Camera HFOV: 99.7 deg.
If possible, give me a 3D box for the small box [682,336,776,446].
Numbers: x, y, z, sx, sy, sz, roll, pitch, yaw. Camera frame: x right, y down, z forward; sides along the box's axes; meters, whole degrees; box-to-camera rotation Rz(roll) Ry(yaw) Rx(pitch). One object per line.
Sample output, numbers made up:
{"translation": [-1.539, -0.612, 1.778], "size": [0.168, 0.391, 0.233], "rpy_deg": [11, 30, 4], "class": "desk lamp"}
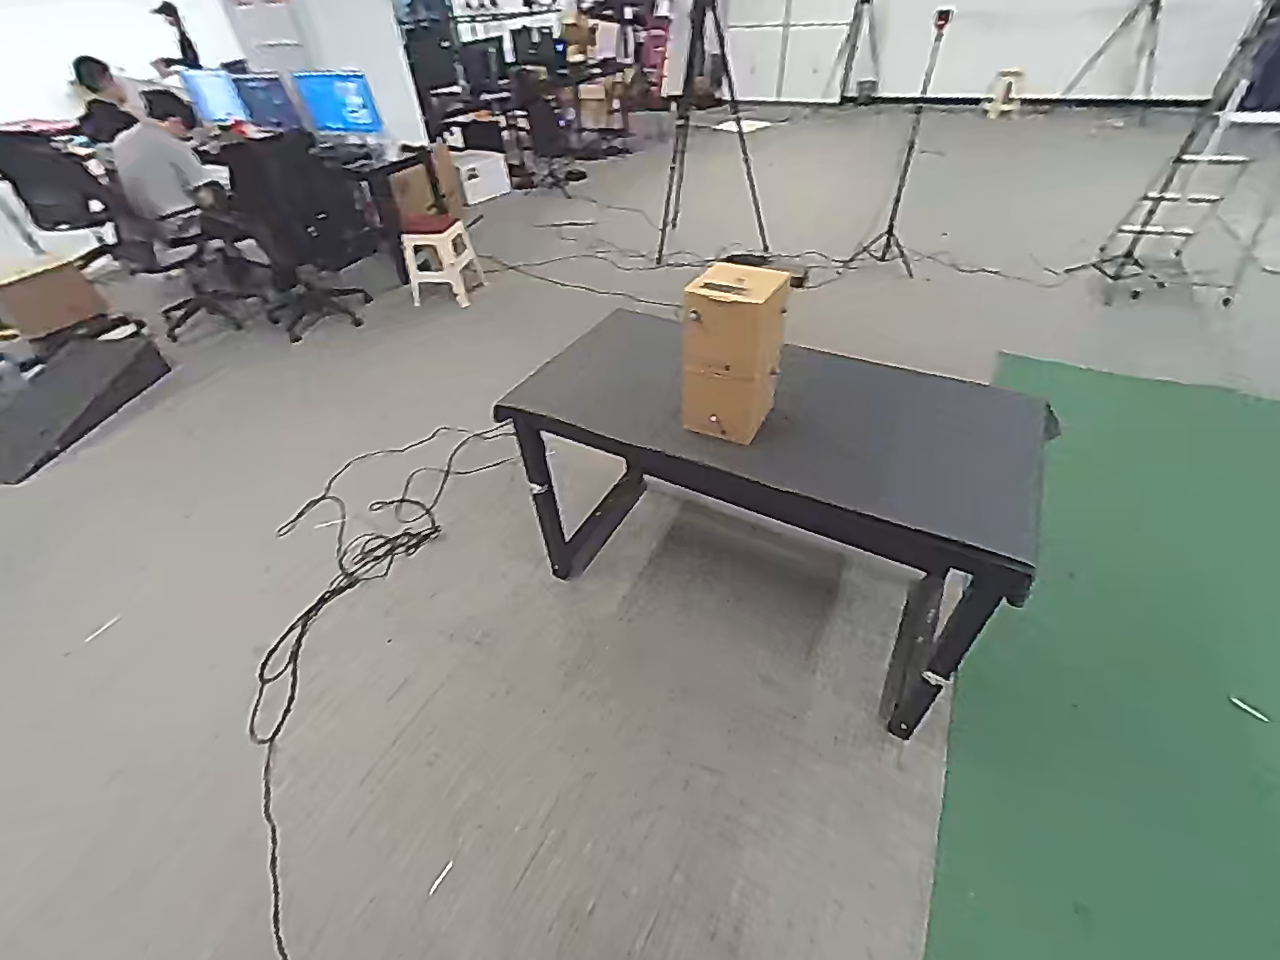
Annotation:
{"translation": [0.201, -0.208, 1.253], "size": [0.168, 0.176, 0.179], "rpy_deg": [17, 46, 22], "class": "small box"}
